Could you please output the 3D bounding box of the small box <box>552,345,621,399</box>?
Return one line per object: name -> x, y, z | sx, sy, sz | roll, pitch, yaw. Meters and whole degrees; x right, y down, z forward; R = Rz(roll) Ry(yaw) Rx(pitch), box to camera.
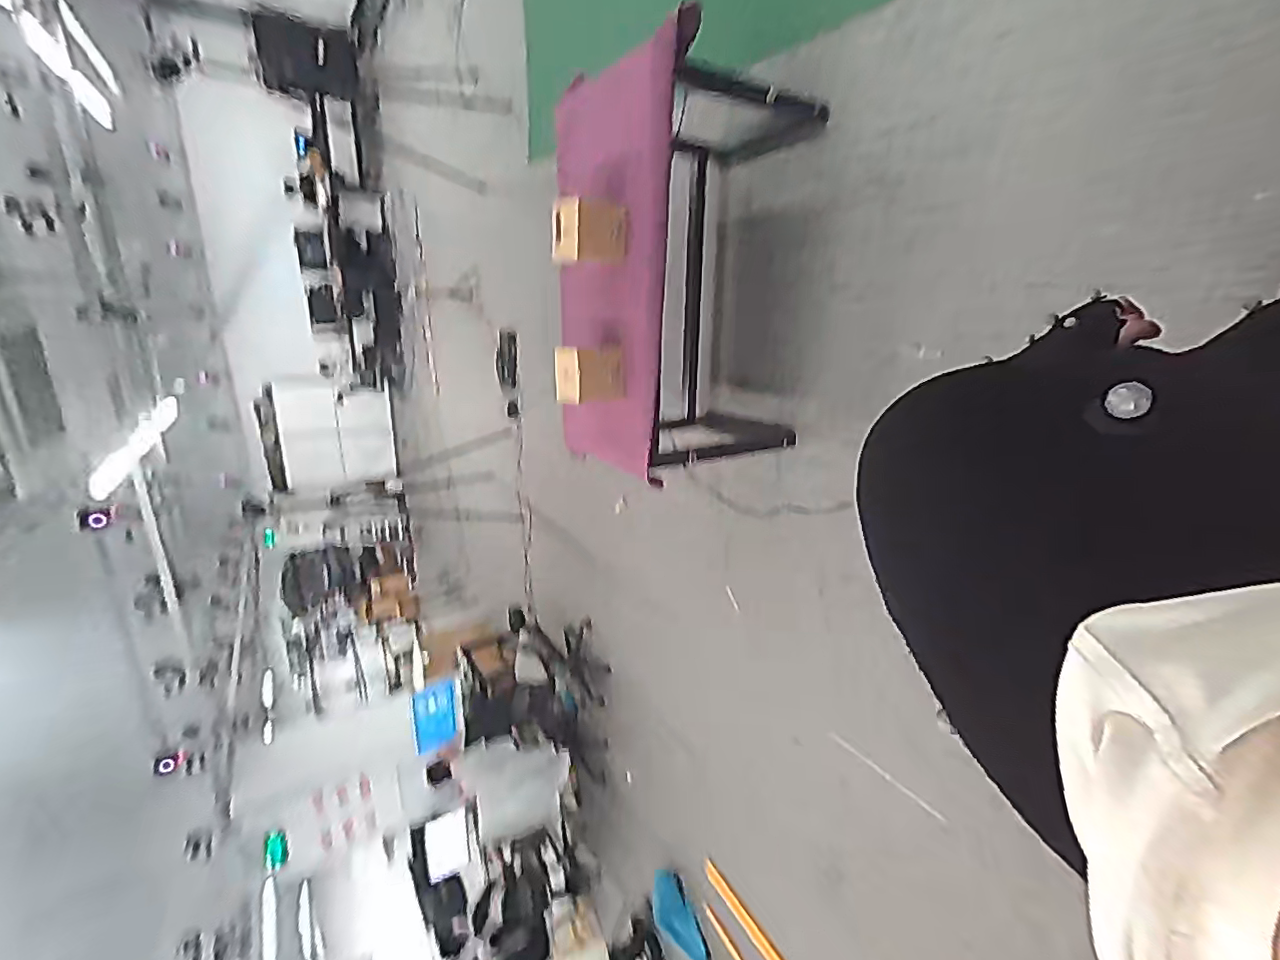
small box -> -0.178, -0.361, 1.791 | 0.179, 0.176, 0.168 | 20, 115, 54
